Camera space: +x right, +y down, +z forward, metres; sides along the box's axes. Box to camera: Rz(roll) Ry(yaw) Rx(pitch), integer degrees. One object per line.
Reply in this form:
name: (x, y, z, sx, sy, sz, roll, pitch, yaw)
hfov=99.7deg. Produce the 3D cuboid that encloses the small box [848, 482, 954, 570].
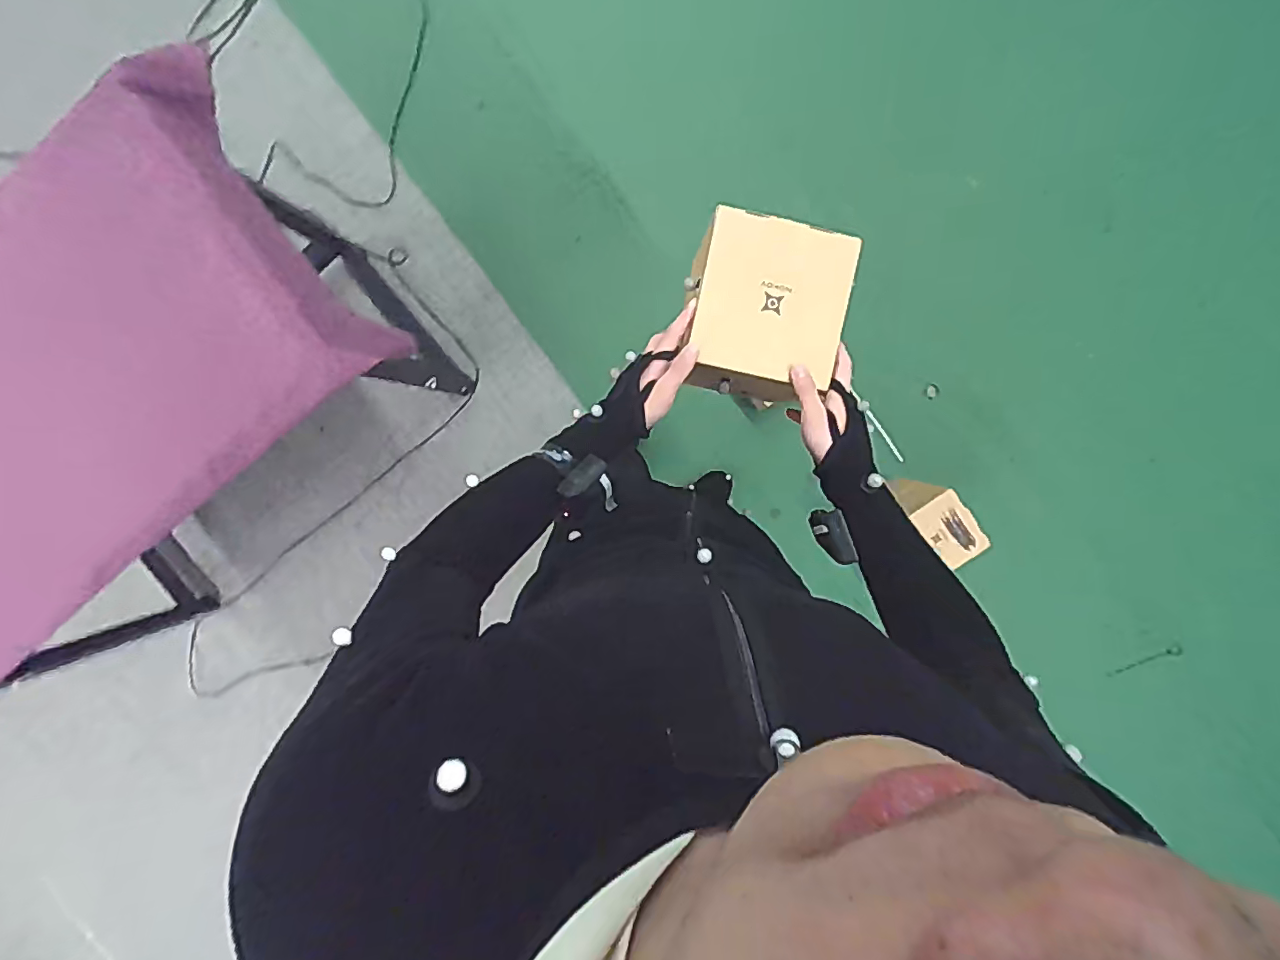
small box: (0.710, 0.117, 1.492, 0.179, 0.176, 0.168, -35, 91, 6)

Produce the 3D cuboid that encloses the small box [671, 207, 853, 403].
small box: (0.136, -0.200, 0.673, 0.168, 0.176, 0.179, 11, 91, -3)
